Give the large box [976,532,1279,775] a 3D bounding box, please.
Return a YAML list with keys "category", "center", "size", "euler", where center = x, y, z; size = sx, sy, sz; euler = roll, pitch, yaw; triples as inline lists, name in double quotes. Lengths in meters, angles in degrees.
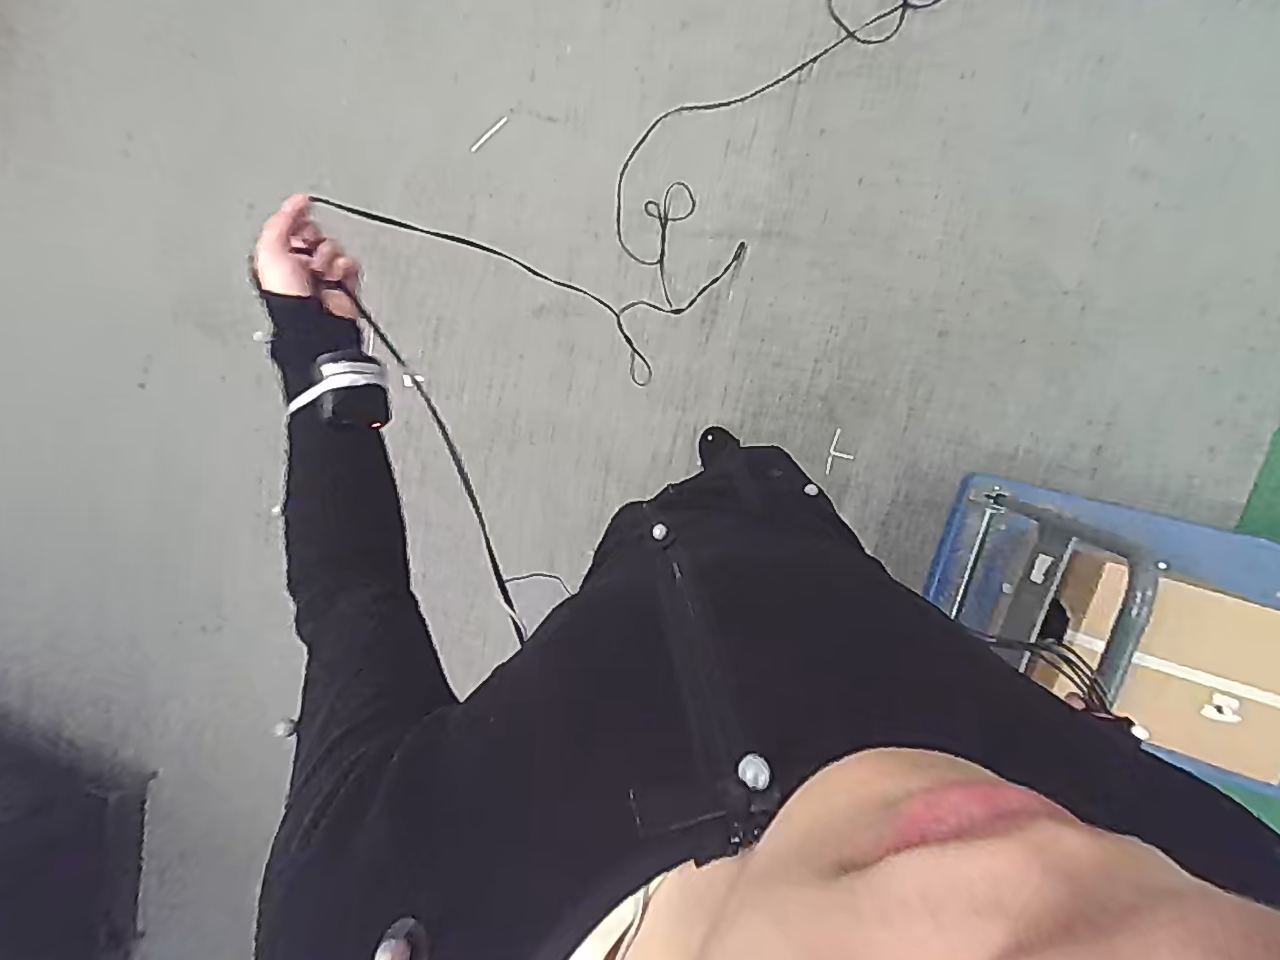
- category: "large box"
  center: [1.027, 0.333, 1.150]
  size: [0.408, 0.320, 0.320]
  euler: [17, 100, 9]
